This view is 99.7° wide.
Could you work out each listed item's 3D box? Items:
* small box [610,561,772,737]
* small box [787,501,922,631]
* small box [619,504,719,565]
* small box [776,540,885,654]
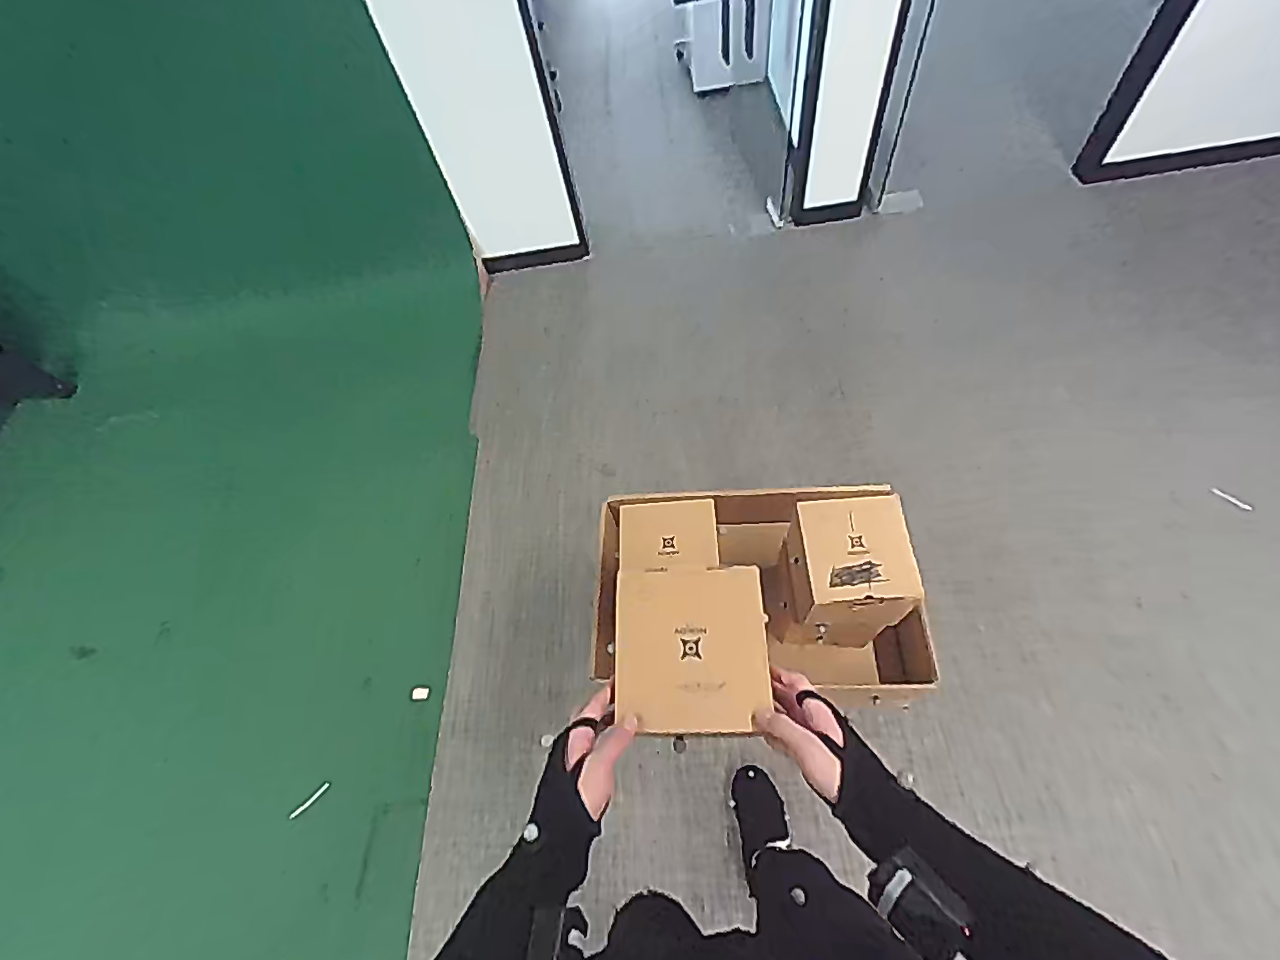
[{"bbox_3d":[0.058,0.209,0.653,0.168,0.176,0.179,-2,63,5],"label":"small box"},{"bbox_3d":[0.351,0.154,0.920,0.168,0.176,0.179,-4,59,6],"label":"small box"},{"bbox_3d":[0.056,0.160,0.959,0.168,0.176,0.179,-4,59,7],"label":"small box"},{"bbox_3d":[0.363,0.232,1.065,0.168,0.176,0.179,0,60,8],"label":"small box"}]
